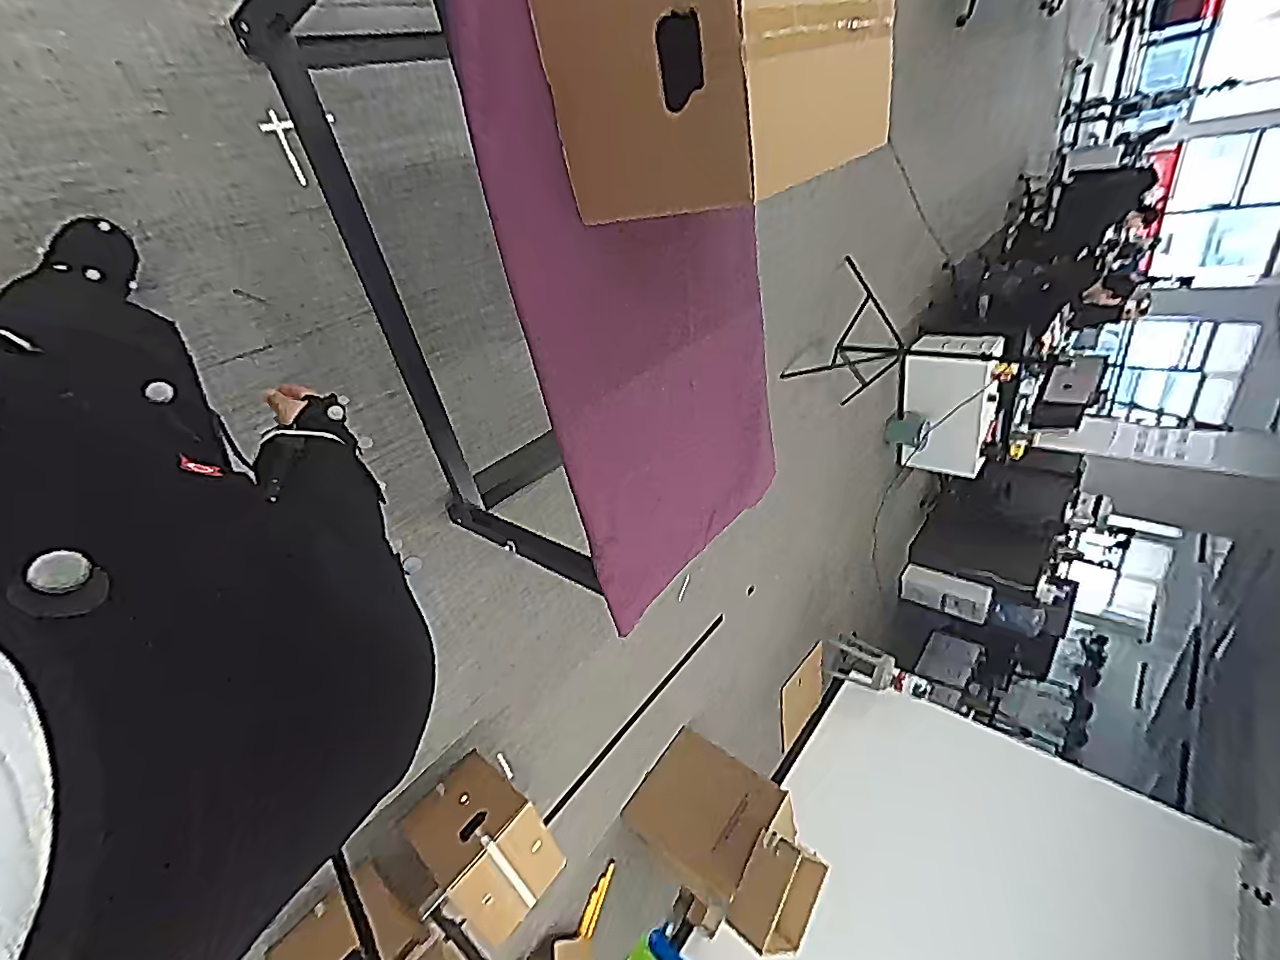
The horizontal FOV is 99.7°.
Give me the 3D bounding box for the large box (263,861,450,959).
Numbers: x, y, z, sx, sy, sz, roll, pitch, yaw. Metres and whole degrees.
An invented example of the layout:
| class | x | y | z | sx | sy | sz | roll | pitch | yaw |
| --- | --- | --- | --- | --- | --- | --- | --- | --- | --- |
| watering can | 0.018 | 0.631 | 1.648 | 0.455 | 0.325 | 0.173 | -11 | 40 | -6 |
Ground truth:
| class | x | y | z | sx | sy | sz | roll | pitch | yaw |
| --- | --- | --- | --- | --- | --- | --- | --- | --- | --- |
| large box | -0.773 | 1.406 | 1.538 | 0.320 | 0.320 | 0.408 | -38 | 128 | -35 |
